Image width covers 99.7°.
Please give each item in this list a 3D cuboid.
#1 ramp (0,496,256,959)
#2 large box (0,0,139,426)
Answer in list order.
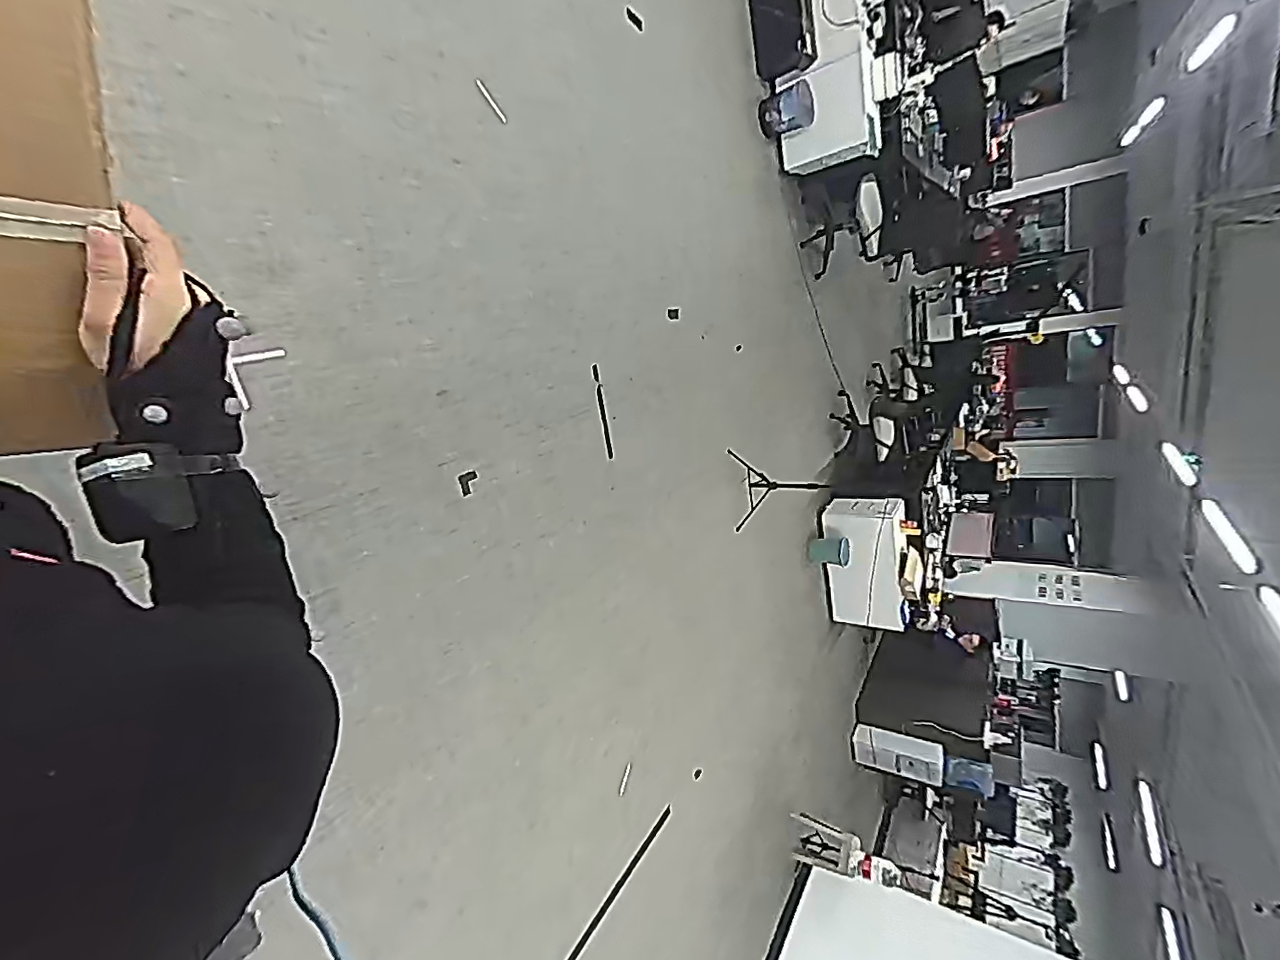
[{"bbox_3d":[-1.097,0.566,0.859,0.509,0.206,0.991,-32,115,-48],"label":"ramp"},{"bbox_3d":[-0.568,-0.217,0.263,0.408,0.320,0.320,-16,138,-48],"label":"large box"}]
